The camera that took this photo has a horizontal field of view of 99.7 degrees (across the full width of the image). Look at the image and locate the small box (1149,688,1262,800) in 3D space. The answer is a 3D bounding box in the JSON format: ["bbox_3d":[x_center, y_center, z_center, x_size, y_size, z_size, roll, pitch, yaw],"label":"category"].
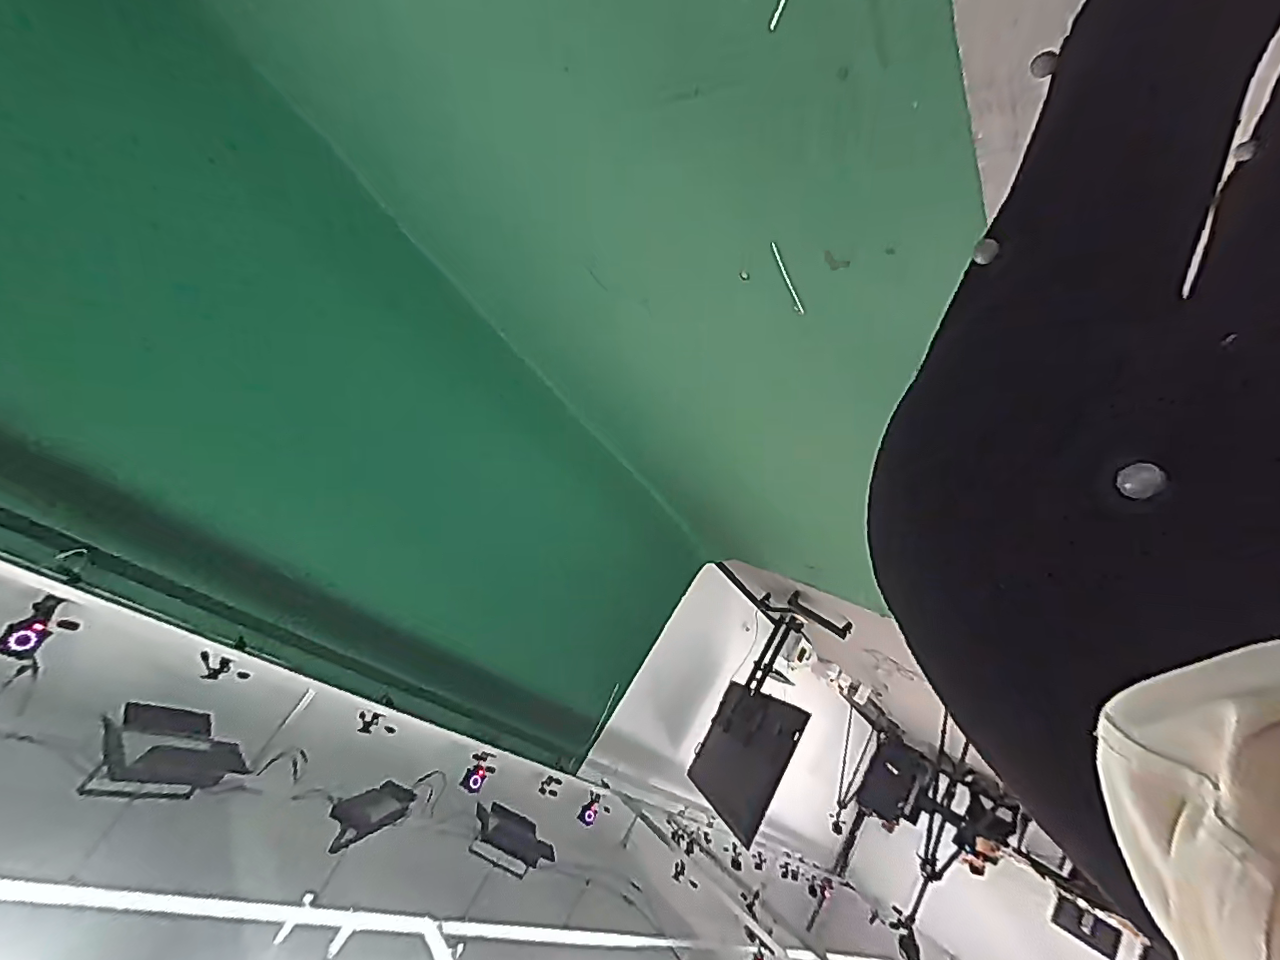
[{"bbox_3d":[1.400,0.652,1.344,0.168,0.176,0.179,14,155,49],"label":"small box"}]

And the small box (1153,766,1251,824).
[{"bbox_3d":[1.554,0.804,1.495,0.168,0.176,0.179,13,153,49],"label":"small box"}]
